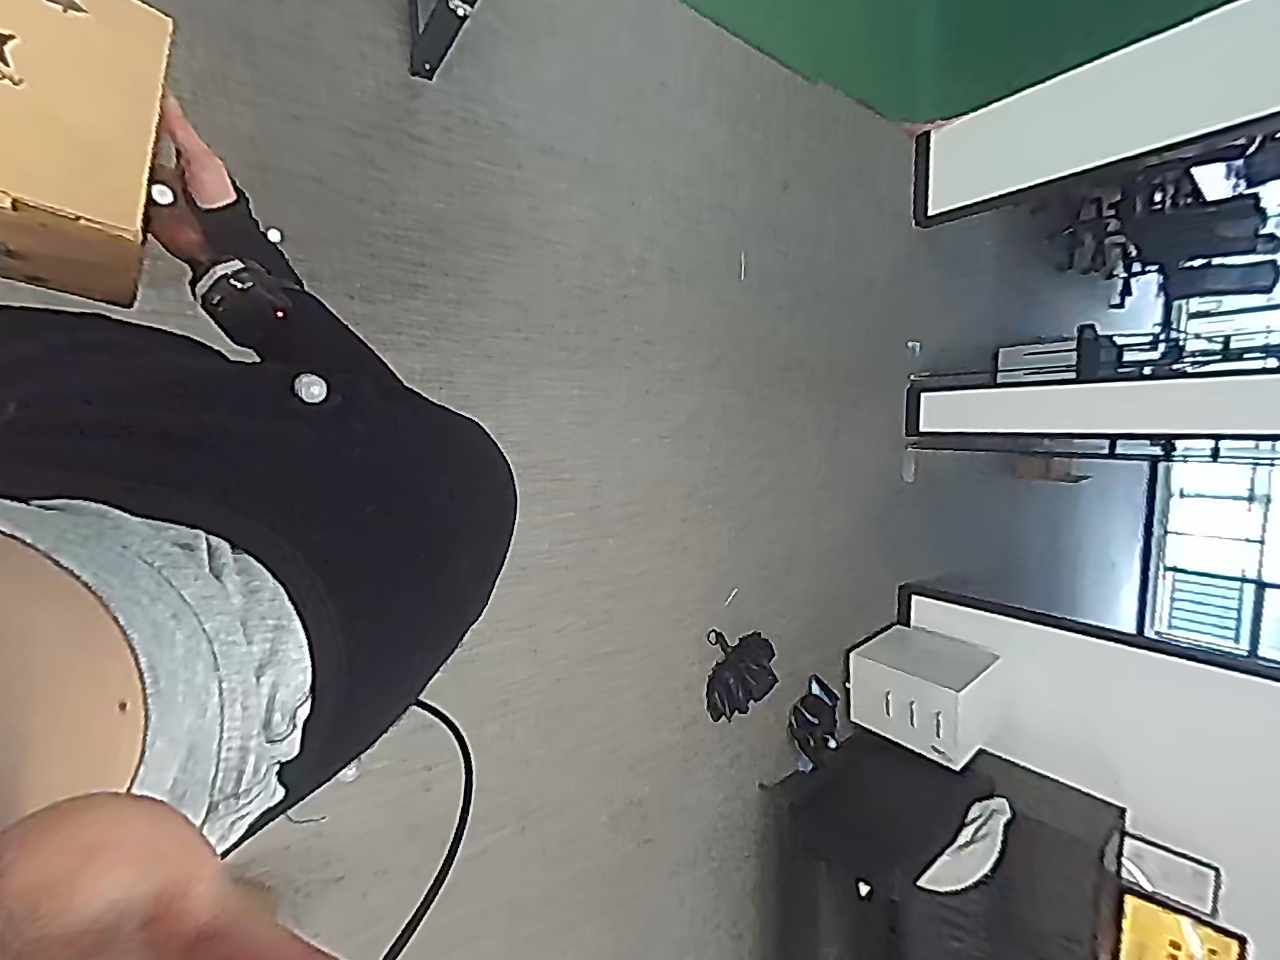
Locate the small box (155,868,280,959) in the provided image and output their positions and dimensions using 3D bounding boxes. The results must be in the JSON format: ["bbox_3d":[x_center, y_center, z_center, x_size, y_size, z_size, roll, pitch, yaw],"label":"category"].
[{"bbox_3d":[-0.984,1.052,1.256,0.168,0.176,0.179,46,68,-31],"label":"small box"}]

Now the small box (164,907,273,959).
[{"bbox_3d":[-0.892,1.051,1.120,0.179,0.176,0.168,-50,122,-25],"label":"small box"}]

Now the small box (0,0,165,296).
[{"bbox_3d":[-0.464,-0.256,0.389,0.168,0.176,0.179,8,82,-44],"label":"small box"}]
